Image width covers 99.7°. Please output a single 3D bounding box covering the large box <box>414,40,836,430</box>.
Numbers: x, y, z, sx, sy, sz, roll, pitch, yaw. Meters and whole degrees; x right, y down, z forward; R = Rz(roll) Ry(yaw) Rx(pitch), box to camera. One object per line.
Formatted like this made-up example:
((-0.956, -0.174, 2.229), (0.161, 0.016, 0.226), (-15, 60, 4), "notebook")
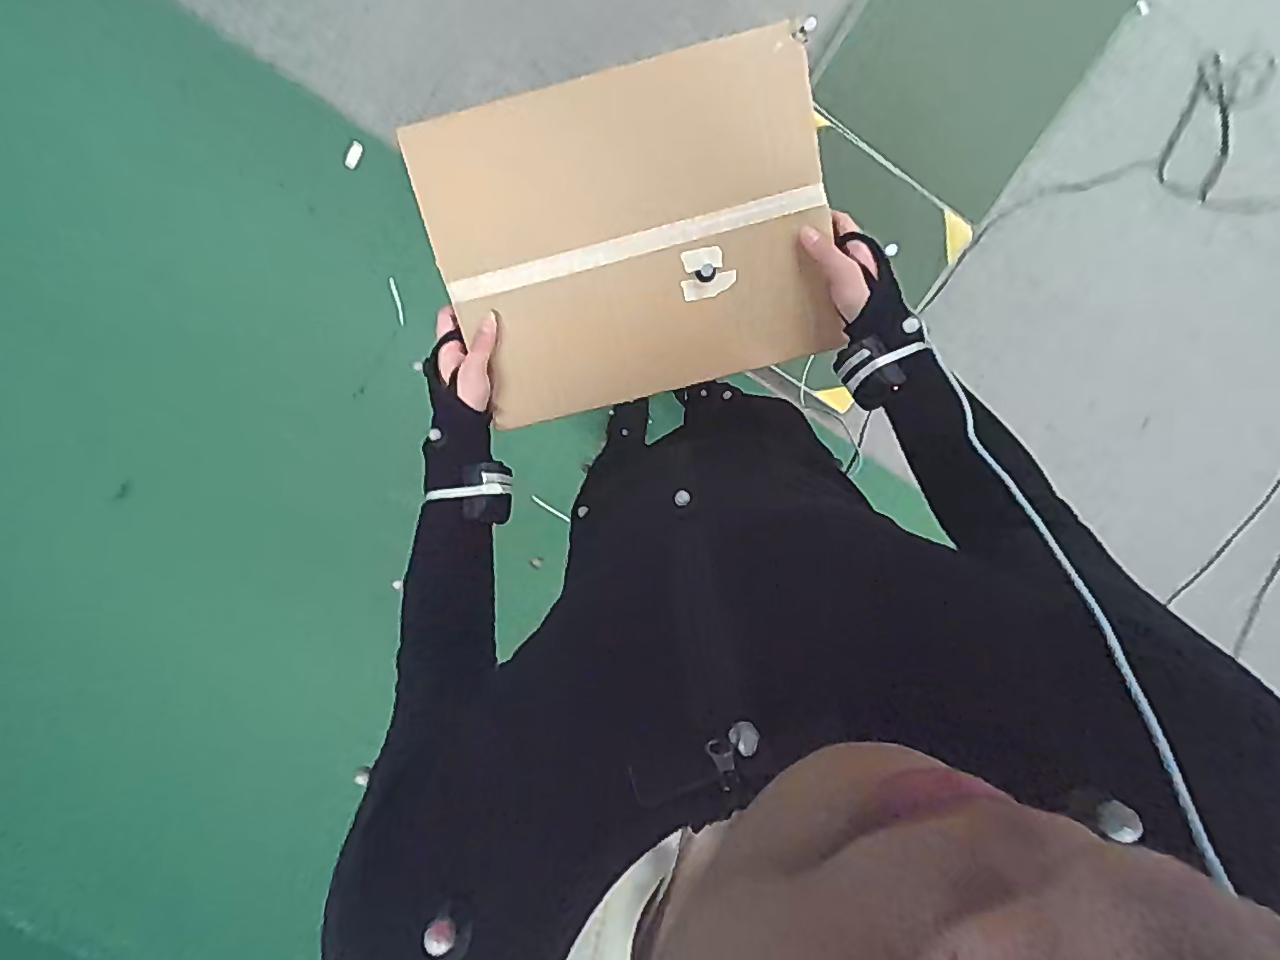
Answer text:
((-0.009, -0.284, 0.721), (0.408, 0.320, 0.320), (-13, 107, 2), "large box")
